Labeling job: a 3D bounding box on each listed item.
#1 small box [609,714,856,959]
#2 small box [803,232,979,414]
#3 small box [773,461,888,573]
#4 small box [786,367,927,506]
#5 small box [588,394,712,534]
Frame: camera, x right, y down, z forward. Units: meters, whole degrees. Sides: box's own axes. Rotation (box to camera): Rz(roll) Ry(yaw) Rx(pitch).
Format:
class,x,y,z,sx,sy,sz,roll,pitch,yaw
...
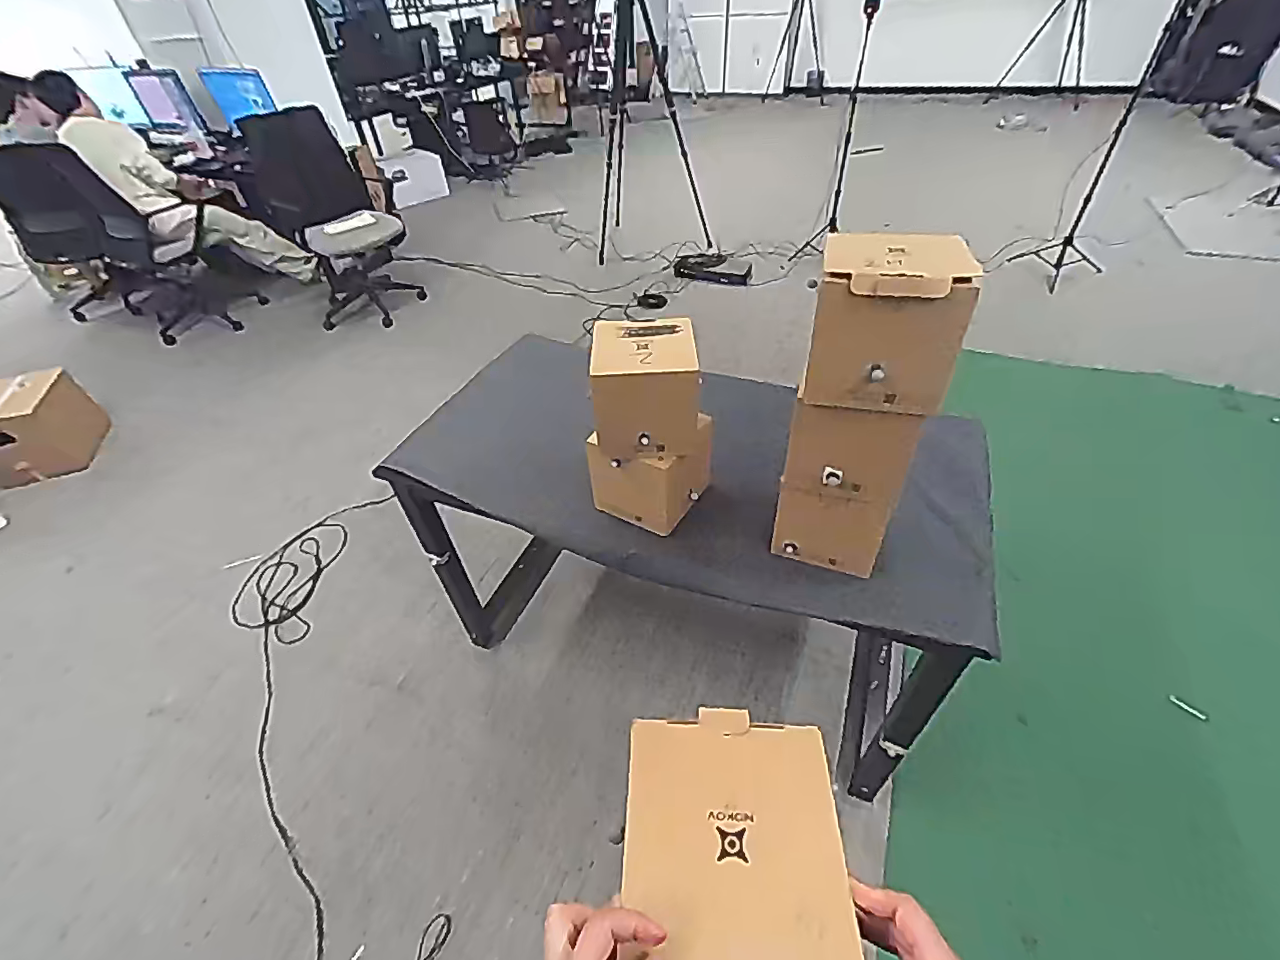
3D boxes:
class,x,y,z,sx,sy,sz,roll,pitch,yaw
small box,0.069,0.325,0.465,0.168,0.176,0.179,0,41,3
small box,0.310,-0.208,0.702,0.168,0.176,0.179,8,42,16
small box,0.331,0.030,0.926,0.168,0.176,0.179,14,43,20
small box,0.320,-0.089,0.817,0.168,0.176,0.179,10,44,17
small box,0.022,-0.031,1.021,0.168,0.176,0.179,21,46,25
